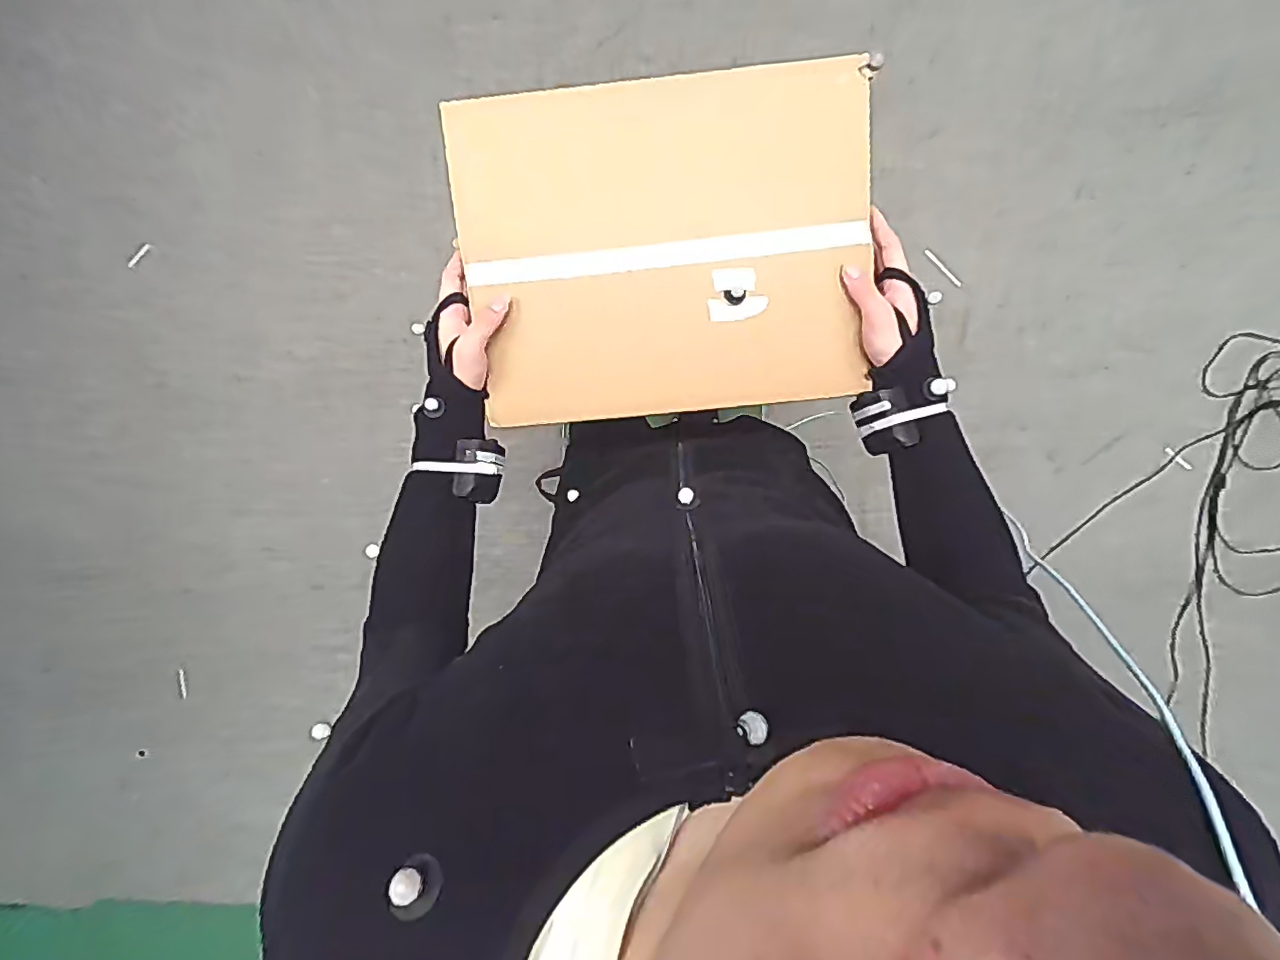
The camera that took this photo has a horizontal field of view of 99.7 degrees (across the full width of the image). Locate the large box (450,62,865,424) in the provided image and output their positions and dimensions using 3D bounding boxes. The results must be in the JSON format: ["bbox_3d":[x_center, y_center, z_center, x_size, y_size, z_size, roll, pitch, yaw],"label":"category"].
[{"bbox_3d":[0.024,-0.256,0.695,0.408,0.320,0.320,-6,101,1],"label":"large box"}]
